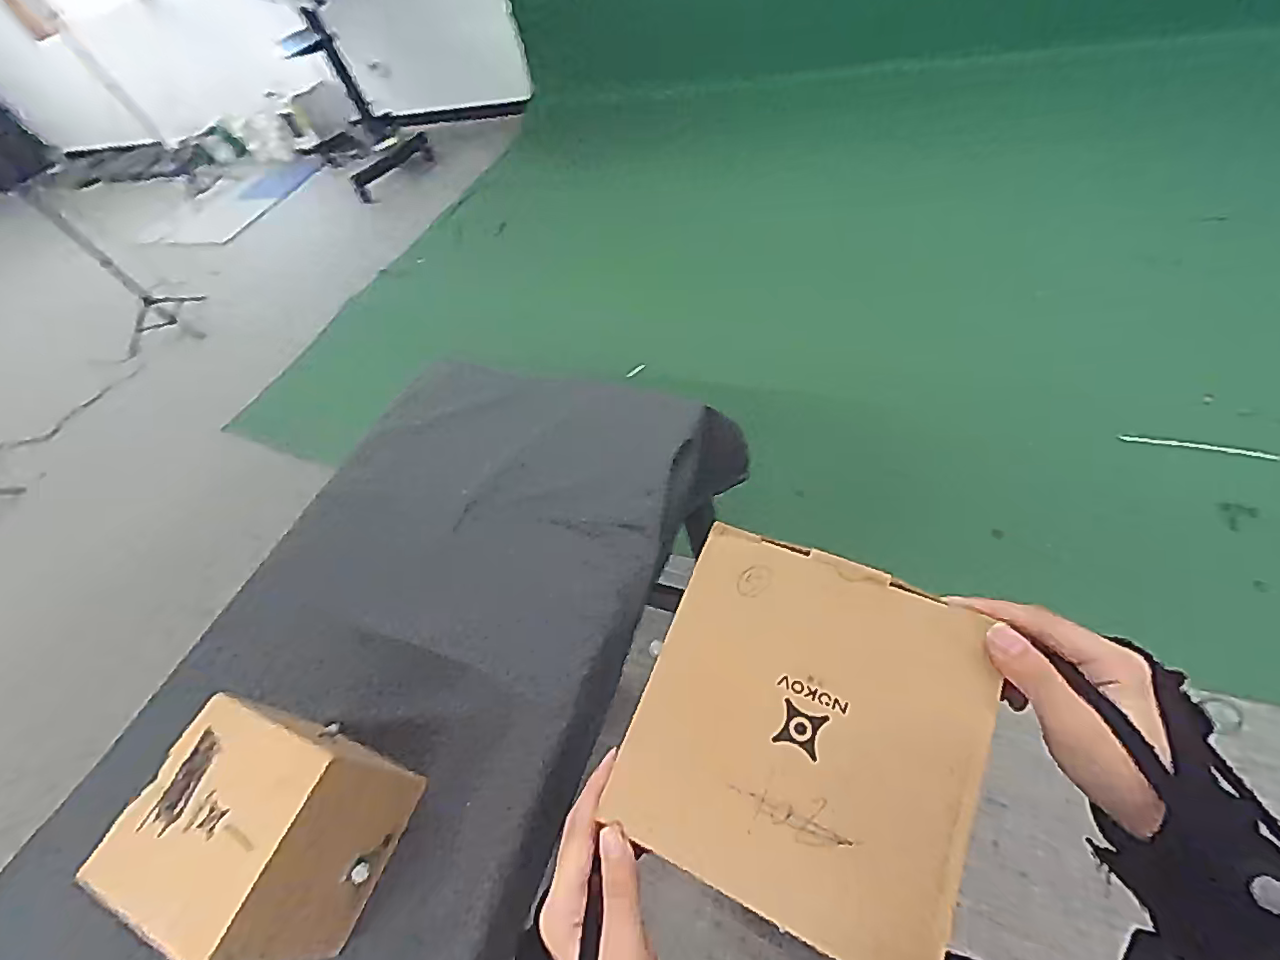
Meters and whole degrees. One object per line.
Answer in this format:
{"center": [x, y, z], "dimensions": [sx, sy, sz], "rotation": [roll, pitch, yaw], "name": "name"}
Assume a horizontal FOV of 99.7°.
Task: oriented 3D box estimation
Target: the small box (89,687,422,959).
{"center": [-0.368, 0.339, 0.550], "dimensions": [0.179, 0.176, 0.168], "rotation": [11, 58, 22], "name": "small box"}
